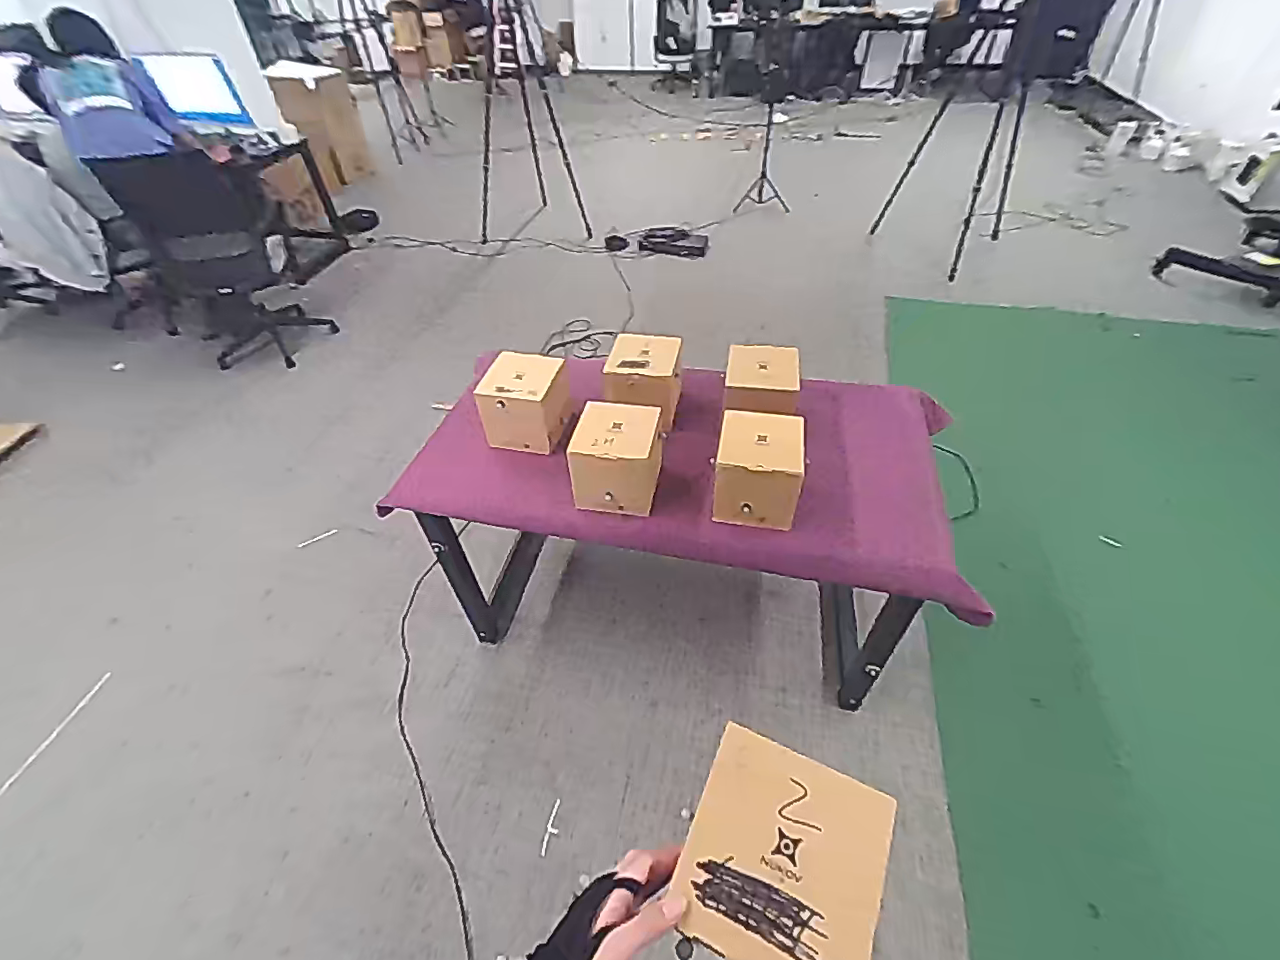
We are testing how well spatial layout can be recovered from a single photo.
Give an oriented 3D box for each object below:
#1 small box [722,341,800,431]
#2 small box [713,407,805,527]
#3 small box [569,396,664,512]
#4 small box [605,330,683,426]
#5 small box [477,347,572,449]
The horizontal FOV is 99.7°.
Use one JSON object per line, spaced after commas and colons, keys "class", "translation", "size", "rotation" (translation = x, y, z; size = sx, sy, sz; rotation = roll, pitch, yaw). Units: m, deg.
{"class": "small box", "translation": [0.294, -0.215, 1.320], "size": [0.168, 0.176, 0.179], "rotation": [6, 48, 9]}
{"class": "small box", "translation": [0.248, -0.028, 1.140], "size": [0.168, 0.176, 0.179], "rotation": [8, 47, 9]}
{"class": "small box", "translation": [-0.045, -0.057, 1.174], "size": [0.168, 0.176, 0.179], "rotation": [7, 46, 9]}
{"class": "small box", "translation": [0.016, -0.257, 1.368], "size": [0.168, 0.176, 0.179], "rotation": [8, 46, 9]}
{"class": "small box", "translation": [-0.271, -0.202, 1.322], "size": [0.168, 0.176, 0.179], "rotation": [8, 46, 11]}
